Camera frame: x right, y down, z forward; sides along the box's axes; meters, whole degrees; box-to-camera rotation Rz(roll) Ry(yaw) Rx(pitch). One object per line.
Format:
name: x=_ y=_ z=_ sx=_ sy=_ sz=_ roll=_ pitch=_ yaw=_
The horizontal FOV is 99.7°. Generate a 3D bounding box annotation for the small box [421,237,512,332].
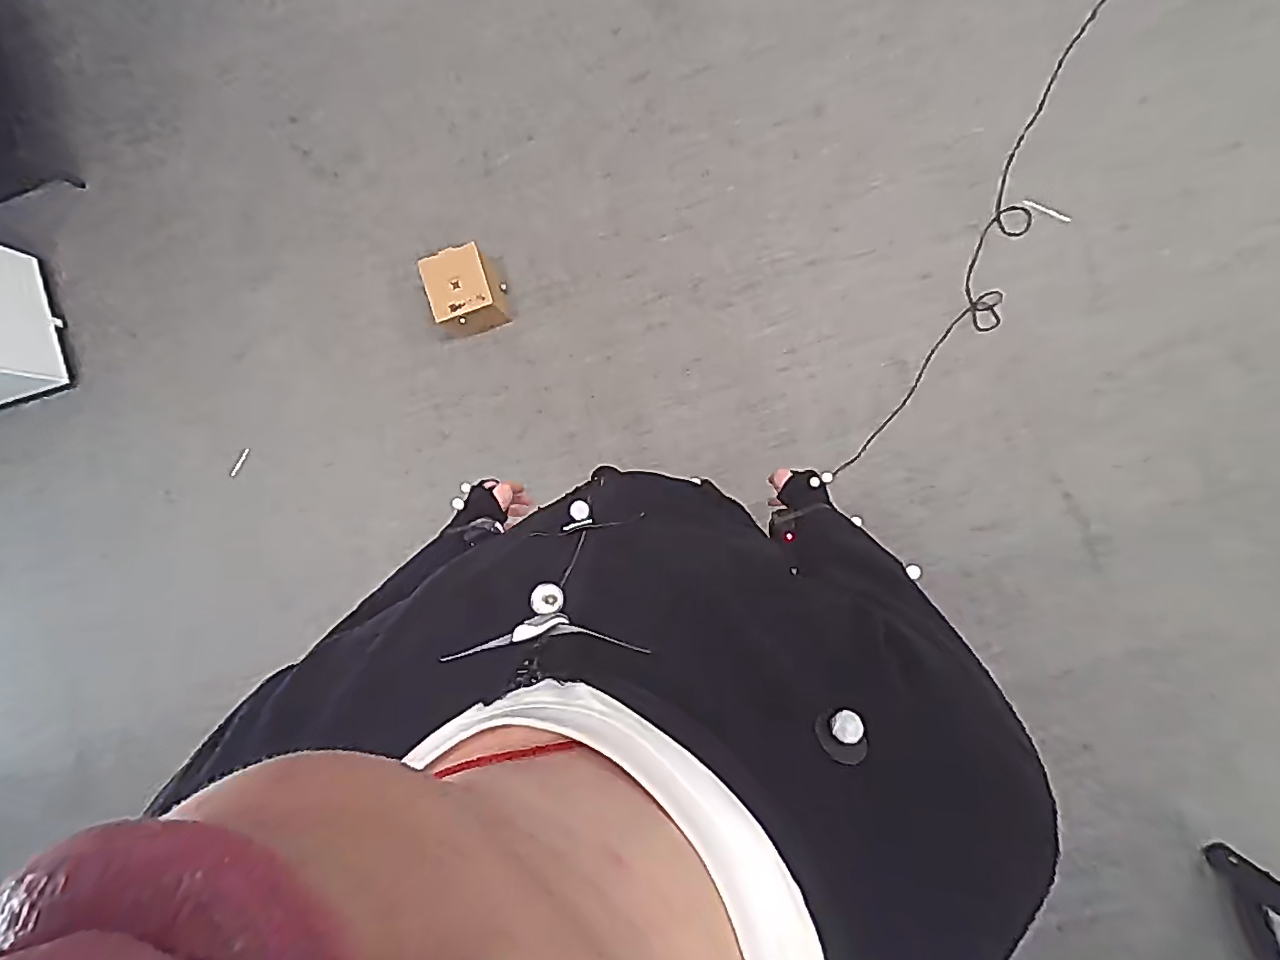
small box: x=-0.474 y=-0.536 z=1.503 sx=0.168 sy=0.176 sz=0.179 roll=-16 pitch=89 yaw=5
